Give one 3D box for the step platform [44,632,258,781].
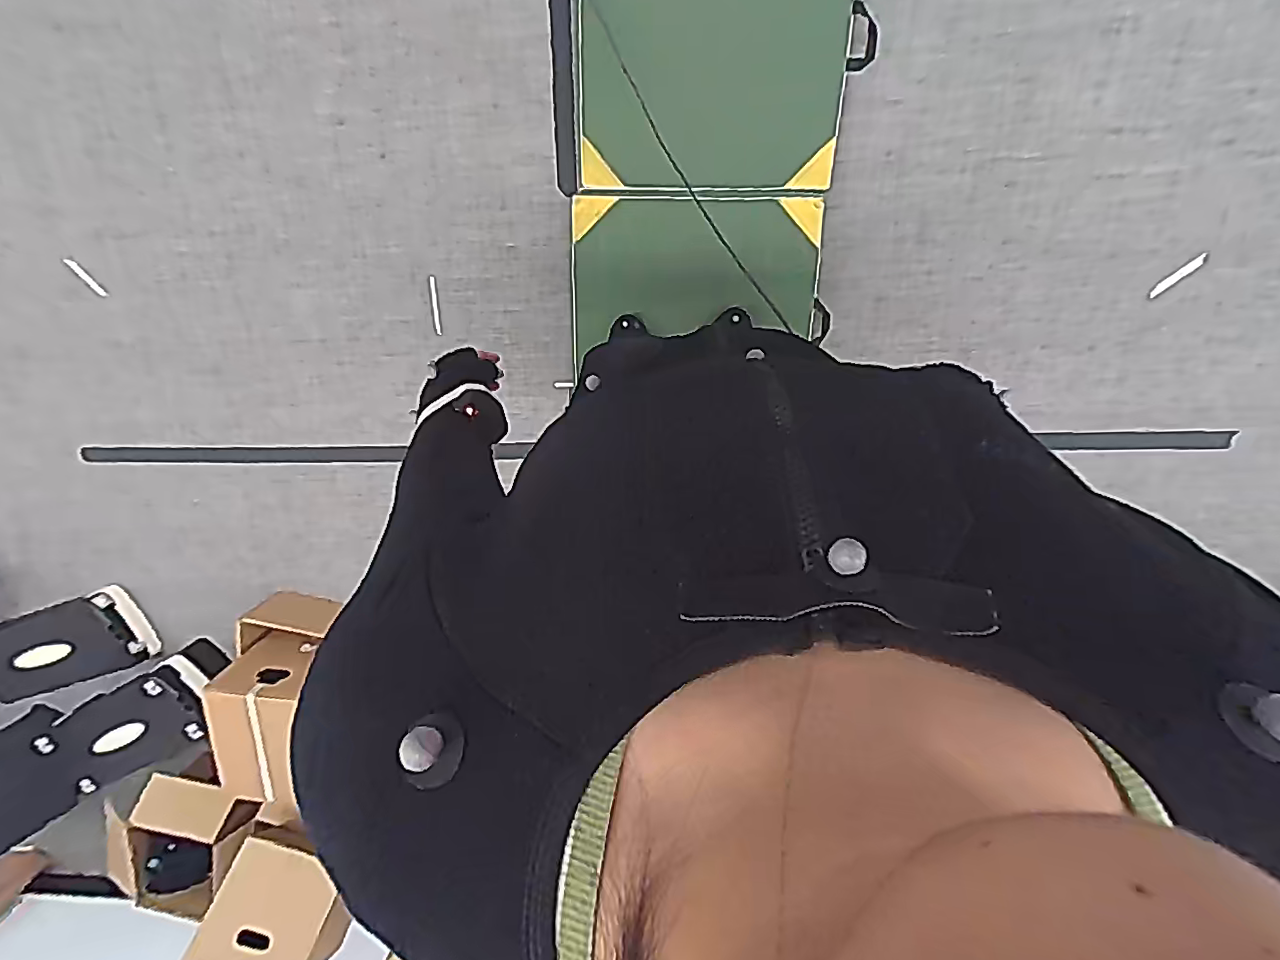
[{"bbox_3d":[-1.740,0.811,1.923,0.684,0.204,0.286,-28,105,12],"label":"step platform"}]
